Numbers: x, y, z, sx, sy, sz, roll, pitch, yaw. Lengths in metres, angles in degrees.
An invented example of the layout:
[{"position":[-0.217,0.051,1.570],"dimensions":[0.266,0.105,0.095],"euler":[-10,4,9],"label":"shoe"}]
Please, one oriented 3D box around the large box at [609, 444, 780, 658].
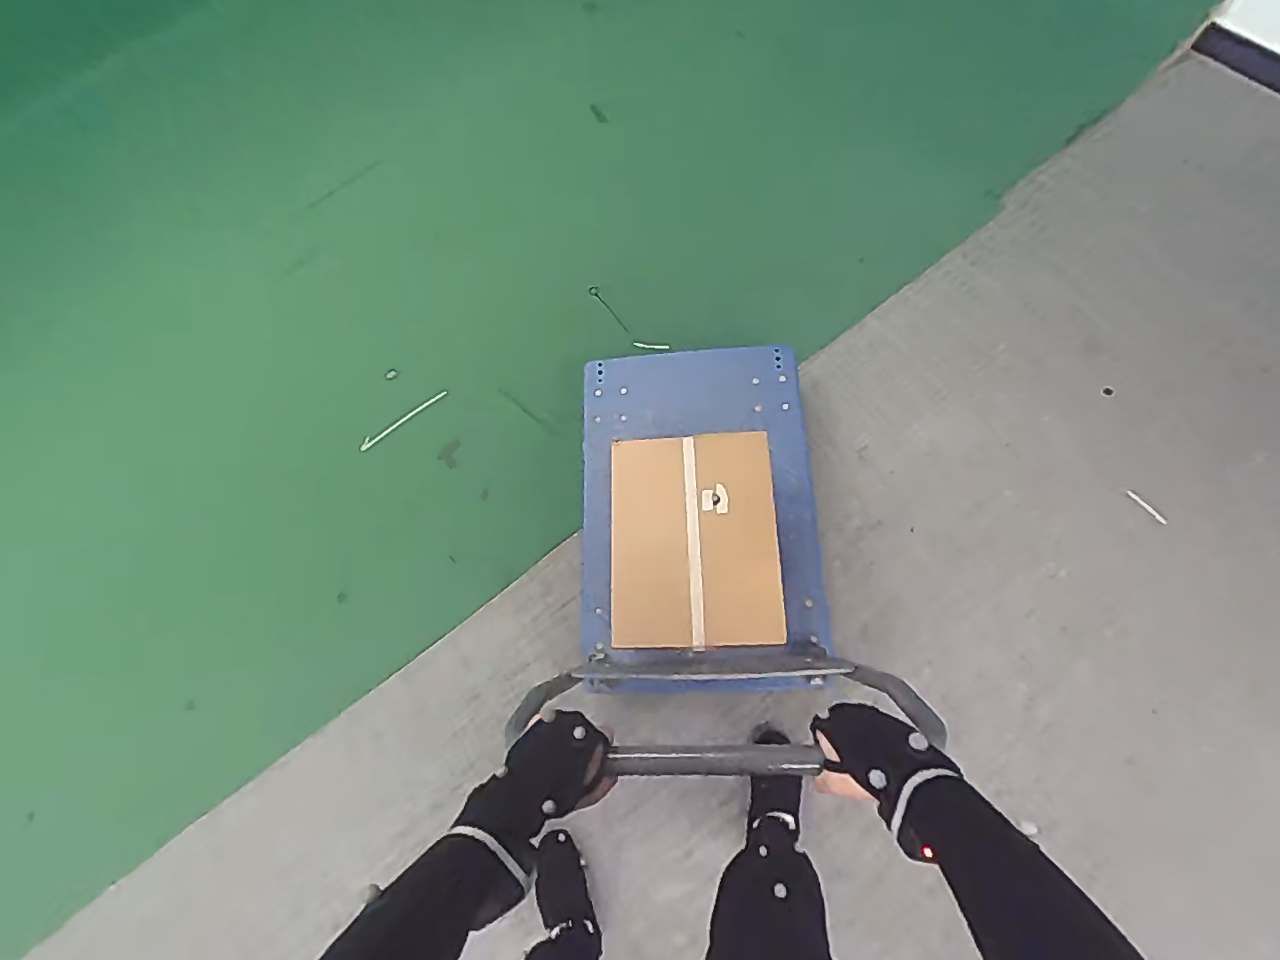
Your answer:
[{"position":[0.113,0.172,1.177],"dimensions":[0.320,0.320,0.408],"euler":[-2,71,6],"label":"large box"}]
